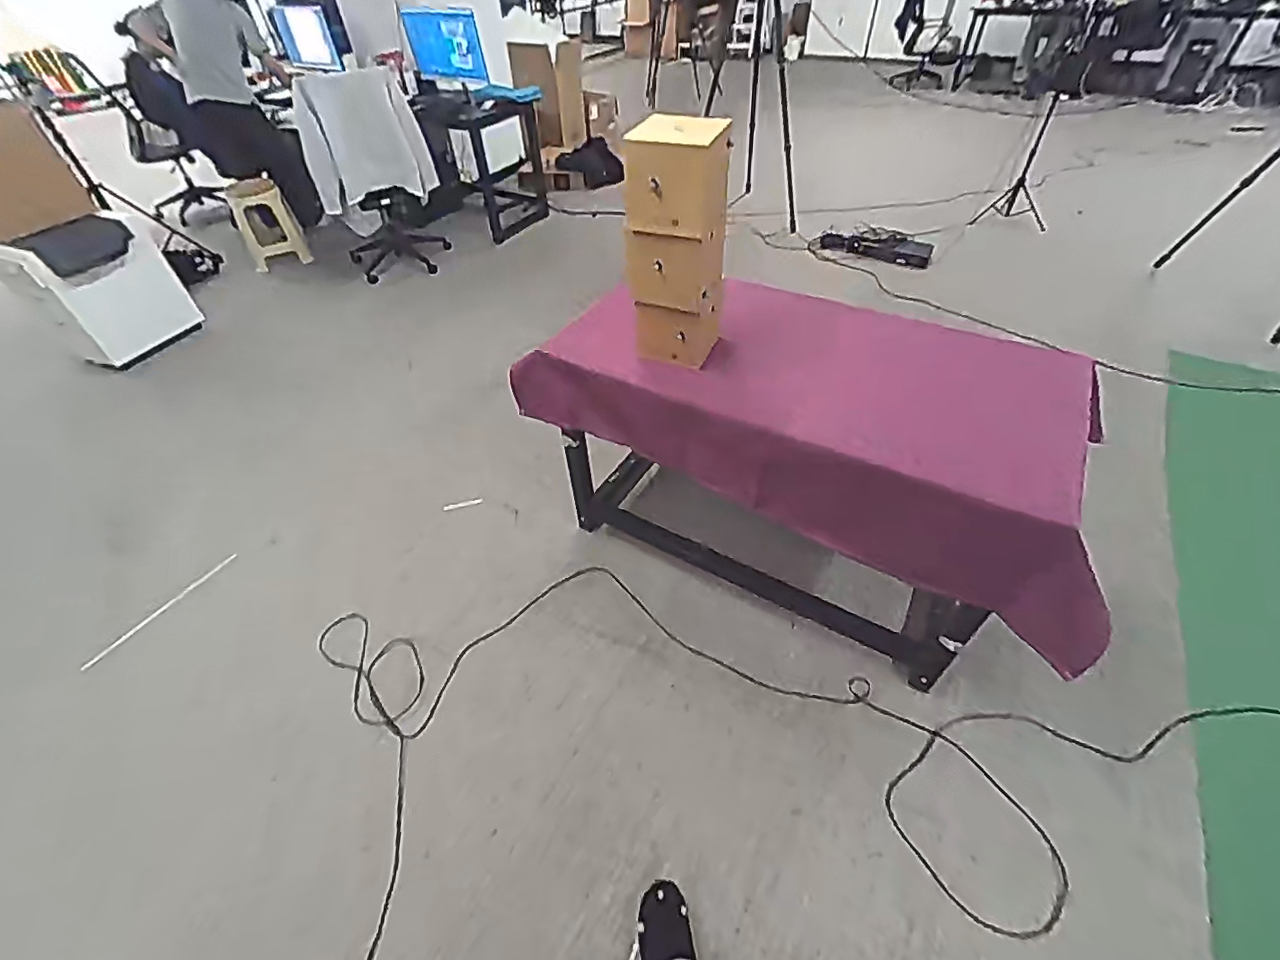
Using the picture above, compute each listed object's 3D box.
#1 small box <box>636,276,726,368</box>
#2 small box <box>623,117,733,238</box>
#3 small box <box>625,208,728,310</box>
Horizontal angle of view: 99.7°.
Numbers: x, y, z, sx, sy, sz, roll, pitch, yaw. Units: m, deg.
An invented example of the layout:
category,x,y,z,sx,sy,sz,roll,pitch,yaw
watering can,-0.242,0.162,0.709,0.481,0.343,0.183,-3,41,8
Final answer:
category,x,y,z,sx,sy,sz,roll,pitch,yaw
small box,0.103,-0.399,1.331,0.168,0.176,0.179,18,49,18
small box,0.079,-0.600,1.073,0.168,0.176,0.179,15,48,16
small box,0.082,-0.497,1.200,0.179,0.176,0.168,17,49,18
